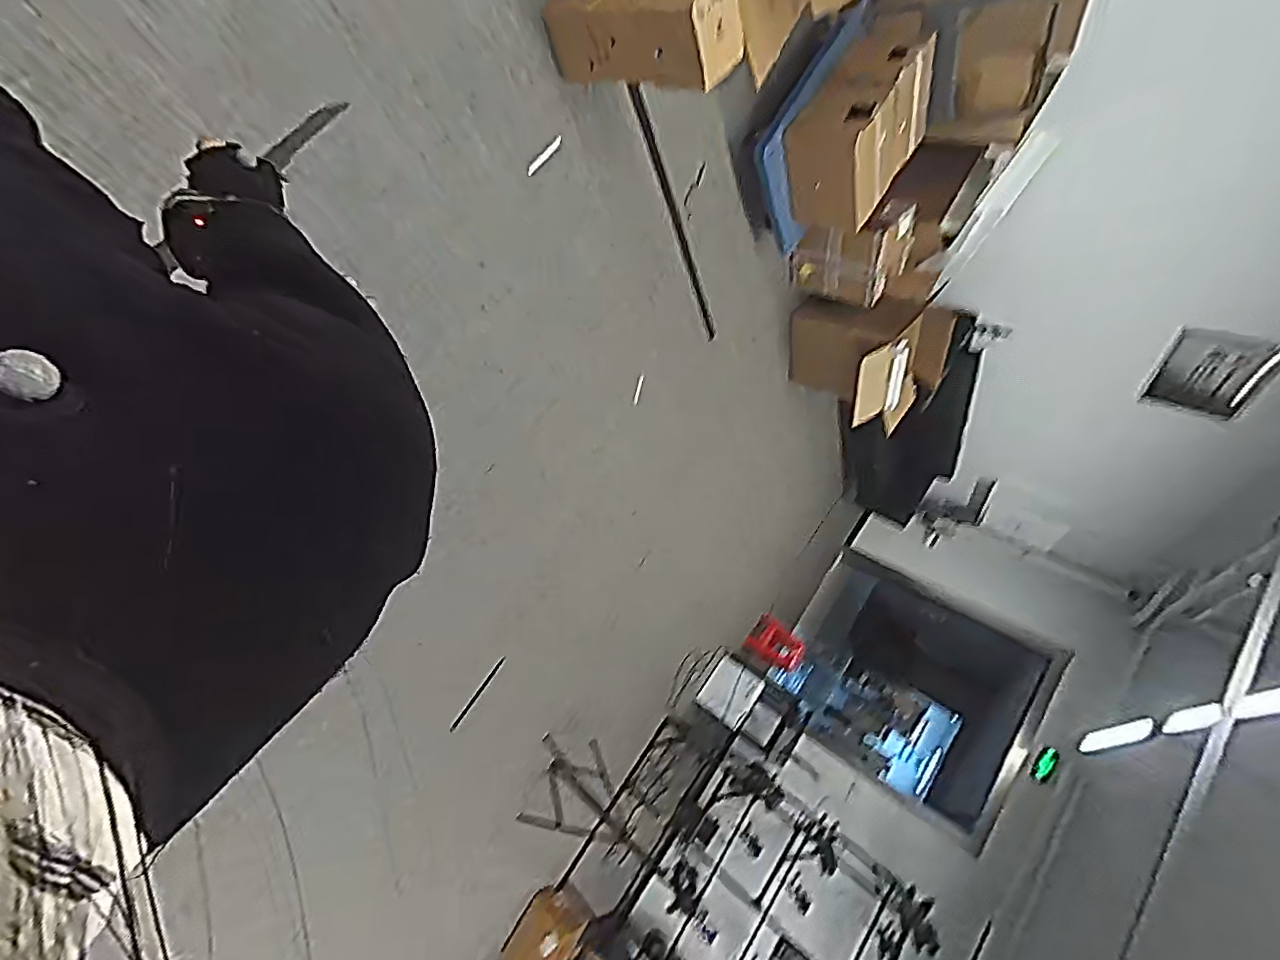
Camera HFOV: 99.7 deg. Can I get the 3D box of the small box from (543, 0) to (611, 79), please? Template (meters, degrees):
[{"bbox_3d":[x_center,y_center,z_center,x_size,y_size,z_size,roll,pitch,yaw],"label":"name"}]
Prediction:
[{"bbox_3d":[-0.129,-1.224,1.459,0.168,0.176,0.179,-52,147,-17],"label":"small box"}]

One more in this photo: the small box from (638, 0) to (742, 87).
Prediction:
[{"bbox_3d":[0.121,-1.090,1.298,0.168,0.176,0.179,-52,148,-14],"label":"small box"}]

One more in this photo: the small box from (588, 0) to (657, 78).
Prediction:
[{"bbox_3d":[0.000,-1.169,1.377,0.179,0.176,0.168,-53,148,-12],"label":"small box"}]
